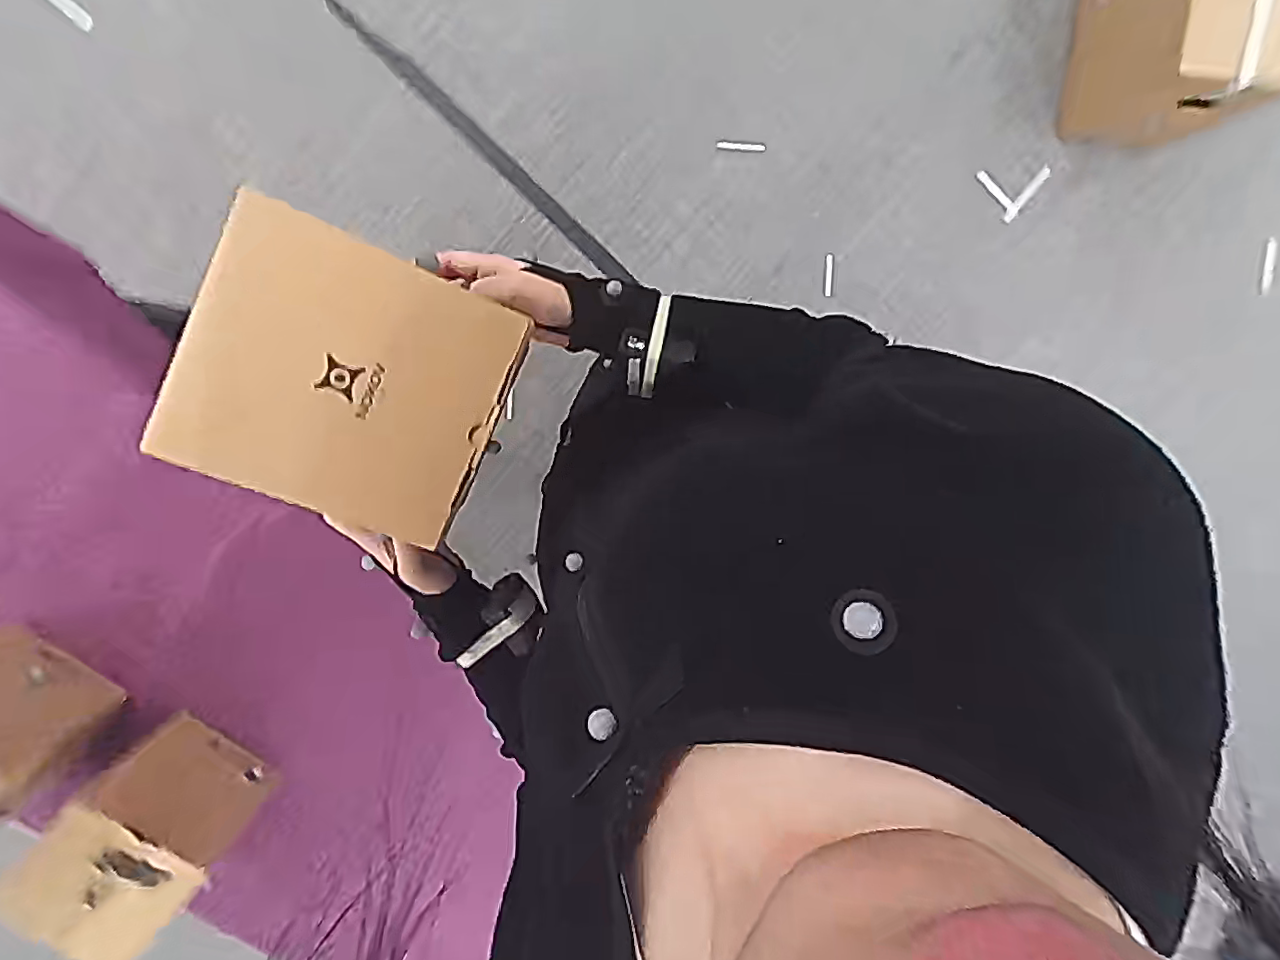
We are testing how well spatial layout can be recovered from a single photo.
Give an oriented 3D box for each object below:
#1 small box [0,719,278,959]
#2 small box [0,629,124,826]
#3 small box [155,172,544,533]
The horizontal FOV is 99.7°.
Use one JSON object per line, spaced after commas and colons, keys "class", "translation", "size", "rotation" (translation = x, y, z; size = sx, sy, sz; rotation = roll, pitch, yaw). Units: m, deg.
{"class": "small box", "translation": [-0.612, 0.450, 0.691], "size": [0.168, 0.176, 0.179], "rotation": [40, 94, -11]}
{"class": "small box", "translation": [-0.797, 0.318, 0.649], "size": [0.168, 0.176, 0.179], "rotation": [41, 93, -12]}
{"class": "small box", "translation": [-0.190, -0.080, 0.407], "size": [0.179, 0.176, 0.168], "rotation": [23, 93, -17]}
